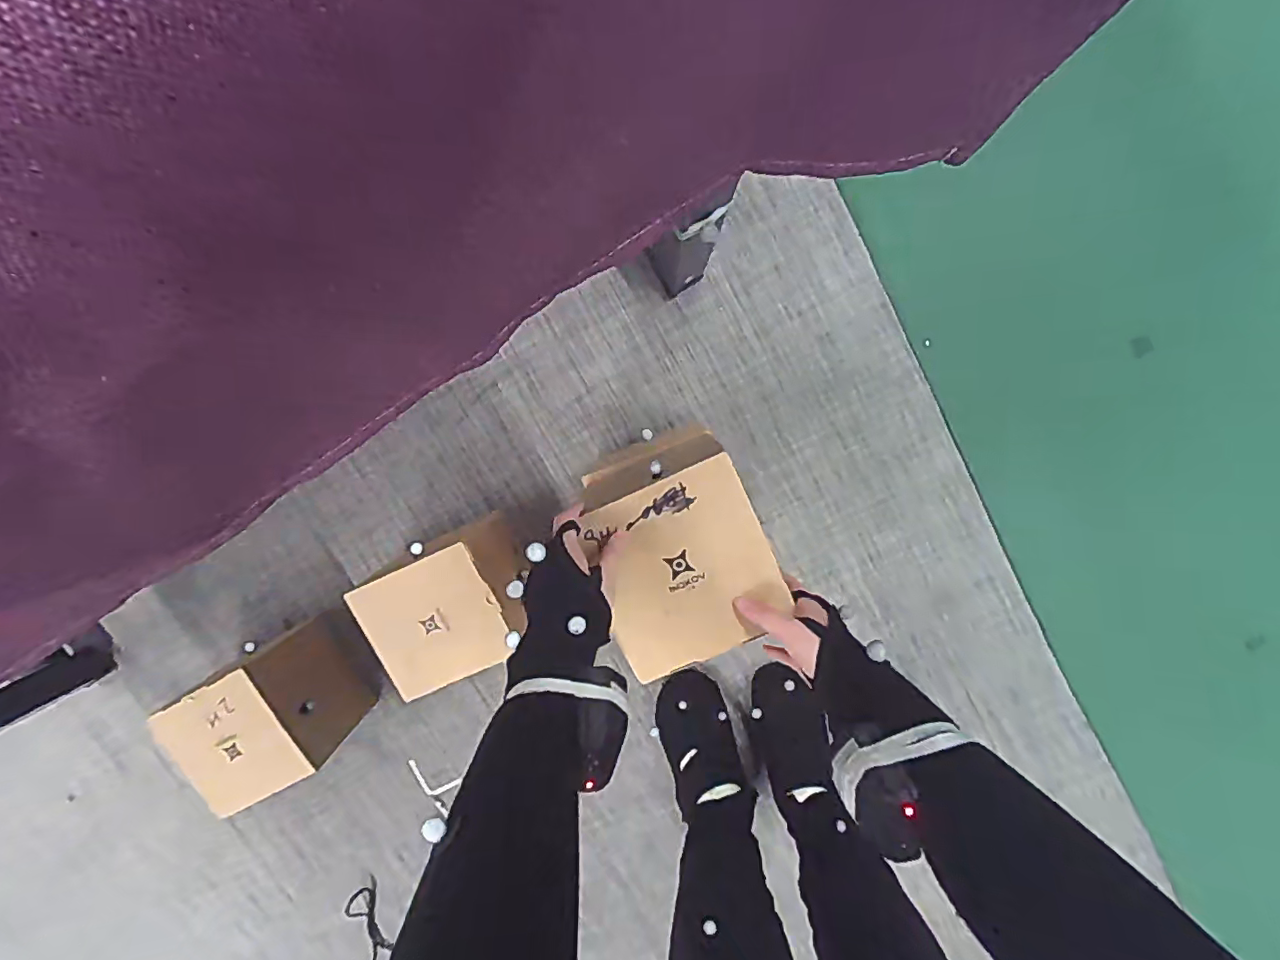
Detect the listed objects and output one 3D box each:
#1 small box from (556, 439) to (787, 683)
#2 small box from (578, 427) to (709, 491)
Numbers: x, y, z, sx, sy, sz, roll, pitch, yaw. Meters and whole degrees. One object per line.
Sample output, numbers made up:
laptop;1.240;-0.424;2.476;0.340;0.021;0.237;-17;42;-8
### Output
small box;0.034;0.072;0.573;0.168;0.176;0.179;-24;100;6
small box;0.033;0.038;0.736;0.168;0.176;0.179;-20;98;5
